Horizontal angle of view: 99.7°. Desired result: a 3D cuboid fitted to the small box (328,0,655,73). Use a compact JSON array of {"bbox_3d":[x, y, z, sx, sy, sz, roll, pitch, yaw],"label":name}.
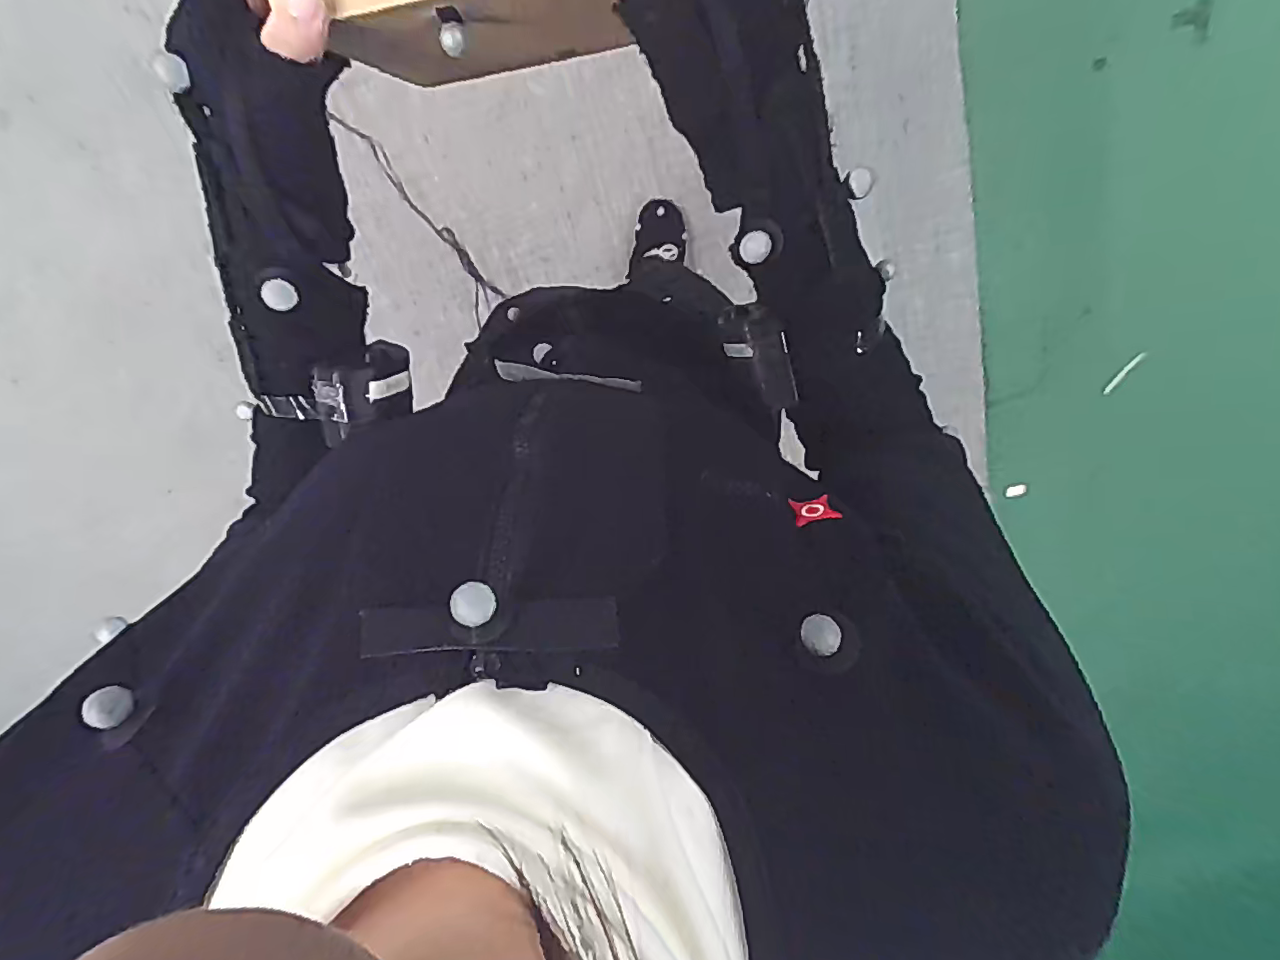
[{"bbox_3d":[-0.083,-0.318,0.243,0.168,0.176,0.179,-9,118,4],"label":"small box"}]
